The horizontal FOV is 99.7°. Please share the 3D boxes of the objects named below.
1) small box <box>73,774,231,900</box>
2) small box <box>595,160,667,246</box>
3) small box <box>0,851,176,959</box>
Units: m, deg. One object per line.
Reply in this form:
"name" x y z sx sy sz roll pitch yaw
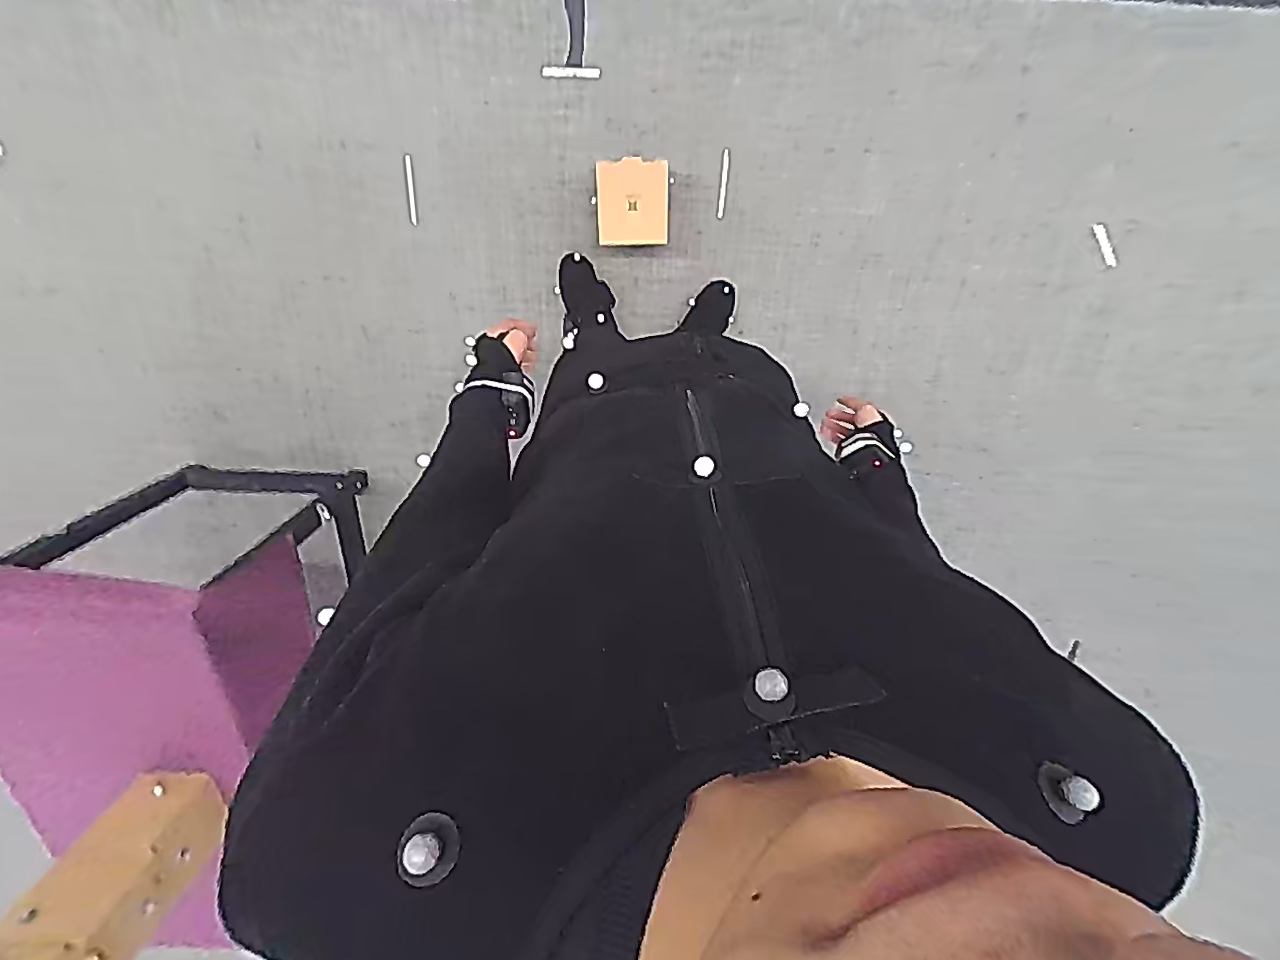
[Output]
"small box" -1.059 0.786 1.195 0.168 0.176 0.179 -1 114 2
"small box" -0.018 -0.669 1.317 0.168 0.176 0.179 -1 114 1
"small box" -1.067 0.854 1.045 0.179 0.176 0.168 4 115 0
